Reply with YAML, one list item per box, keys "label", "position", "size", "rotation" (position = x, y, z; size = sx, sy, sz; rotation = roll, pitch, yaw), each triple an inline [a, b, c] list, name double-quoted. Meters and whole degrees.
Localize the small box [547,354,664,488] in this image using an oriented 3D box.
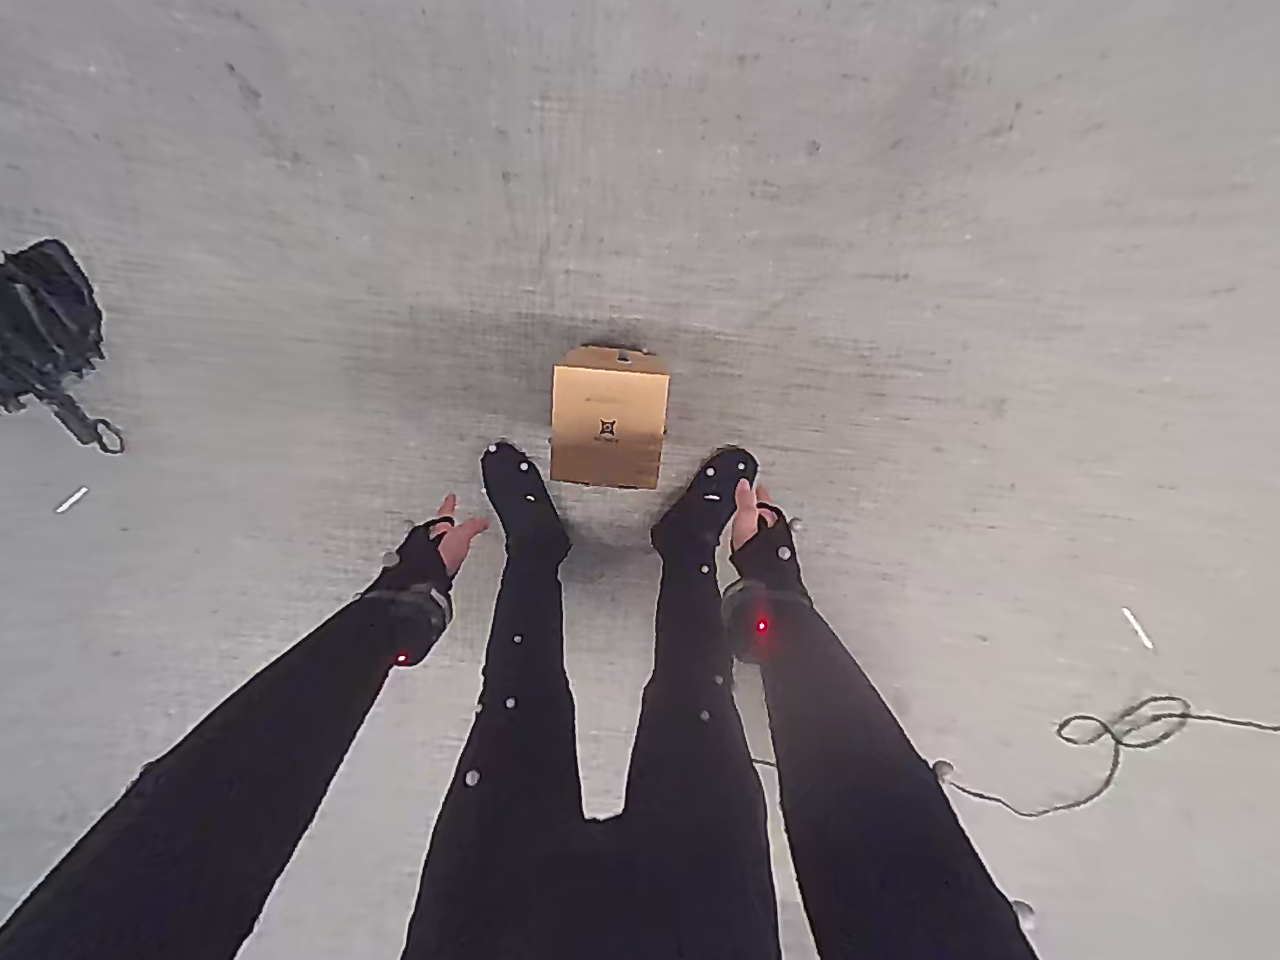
- label: "small box"
  position: [-0.052, -0.100, 0.863]
  size: [0.168, 0.176, 0.179]
  rotation: [4, 107, -1]
